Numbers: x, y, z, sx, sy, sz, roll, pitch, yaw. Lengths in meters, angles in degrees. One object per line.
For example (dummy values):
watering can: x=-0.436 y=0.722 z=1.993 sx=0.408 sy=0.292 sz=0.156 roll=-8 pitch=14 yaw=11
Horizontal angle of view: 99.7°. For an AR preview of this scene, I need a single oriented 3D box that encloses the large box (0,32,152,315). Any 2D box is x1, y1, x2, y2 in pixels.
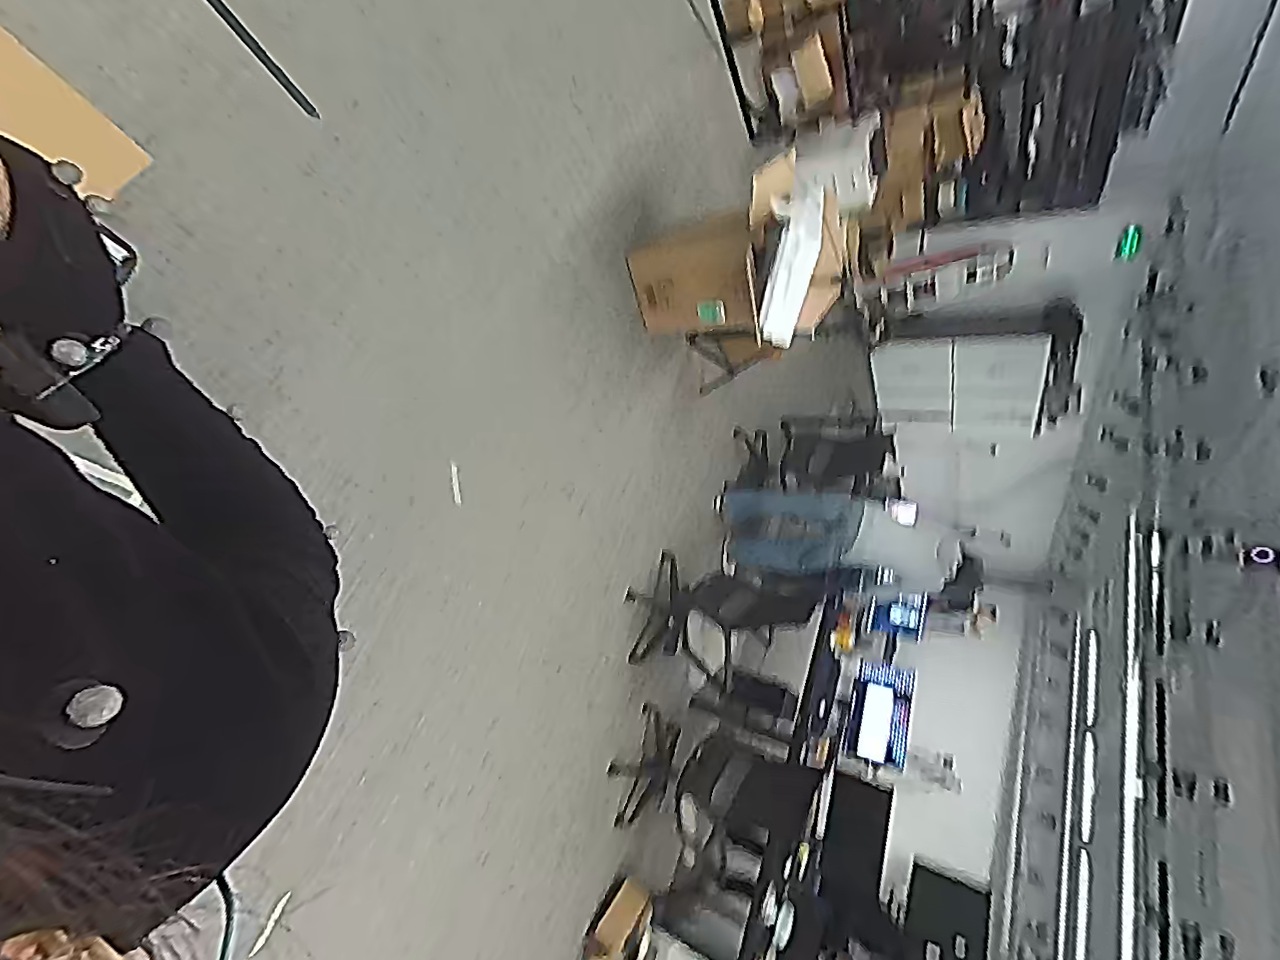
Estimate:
large box: x=-0.962 y=-0.438 z=0.662 sx=0.408 sy=0.320 sz=0.320 roll=49 pitch=55 yaw=-47
